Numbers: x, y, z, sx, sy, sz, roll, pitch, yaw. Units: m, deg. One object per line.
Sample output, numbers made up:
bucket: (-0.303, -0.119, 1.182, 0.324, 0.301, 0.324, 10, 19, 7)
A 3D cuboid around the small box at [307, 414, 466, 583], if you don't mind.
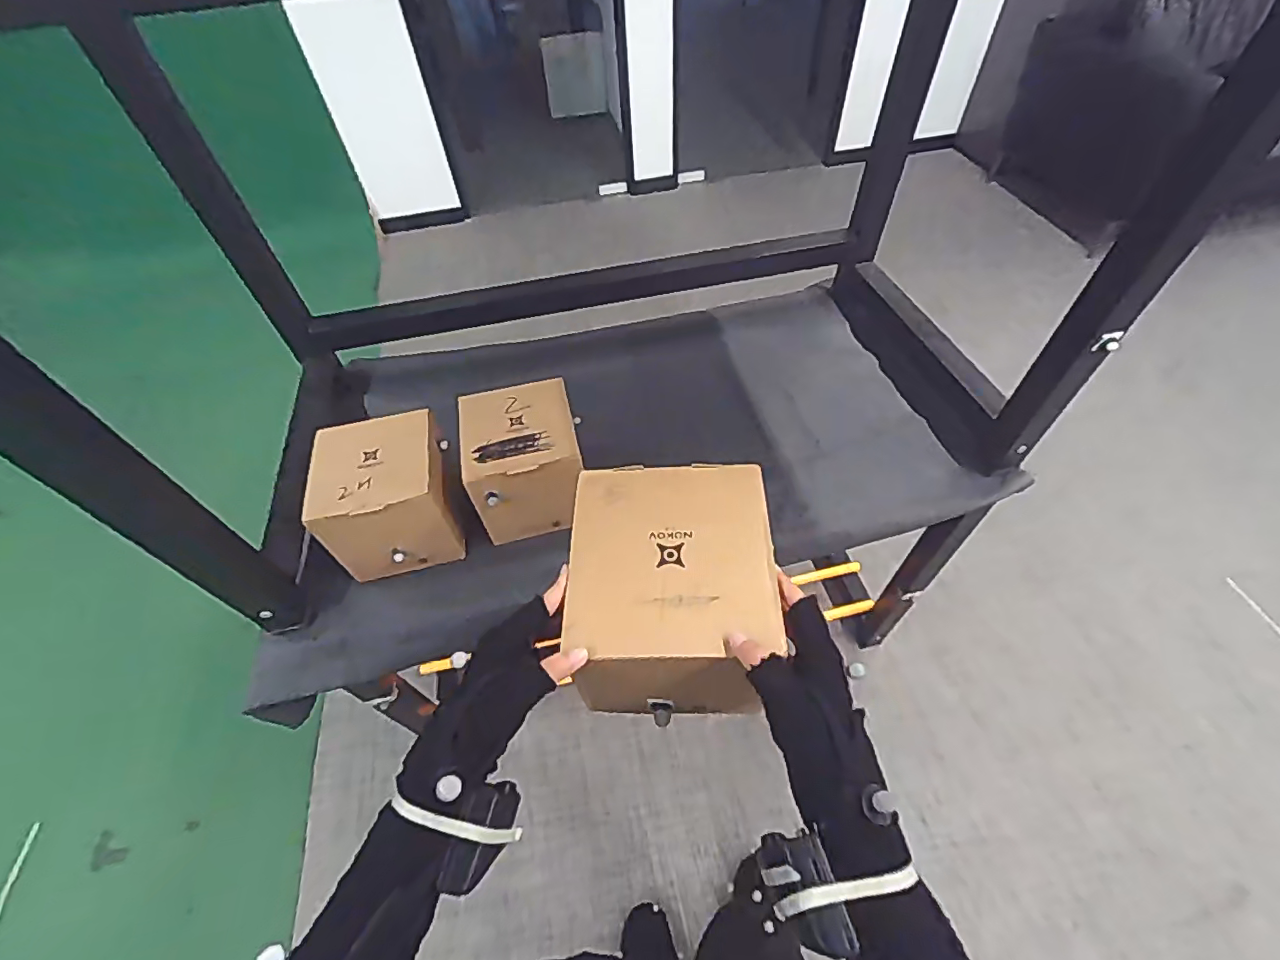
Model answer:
small box: (-0.374, 0.029, 0.827, 0.168, 0.176, 0.179, -13, 53, -8)
